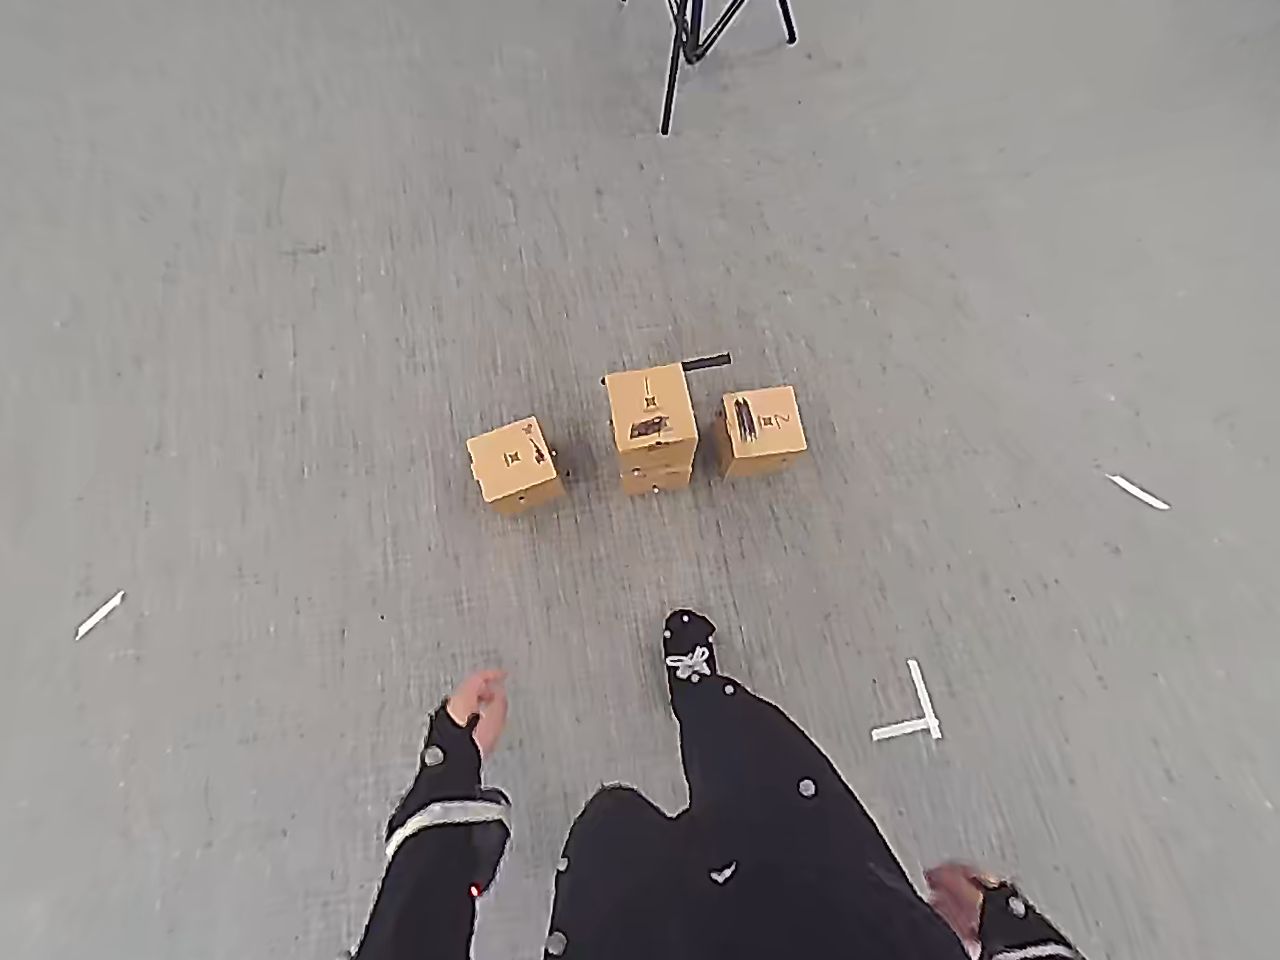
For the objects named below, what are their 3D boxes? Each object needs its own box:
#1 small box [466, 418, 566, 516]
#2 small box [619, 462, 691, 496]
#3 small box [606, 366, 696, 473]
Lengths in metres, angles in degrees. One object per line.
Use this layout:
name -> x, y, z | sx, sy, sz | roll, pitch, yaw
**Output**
small box -> -0.298, -0.024, 1.327 | 0.179, 0.176, 0.168 | -21, 76, -5
small box -> 0.028, -0.069, 1.336 | 0.168, 0.176, 0.179 | -6, 75, -1
small box -> 0.023, -0.123, 1.181 | 0.168, 0.176, 0.179 | -10, 73, -3
